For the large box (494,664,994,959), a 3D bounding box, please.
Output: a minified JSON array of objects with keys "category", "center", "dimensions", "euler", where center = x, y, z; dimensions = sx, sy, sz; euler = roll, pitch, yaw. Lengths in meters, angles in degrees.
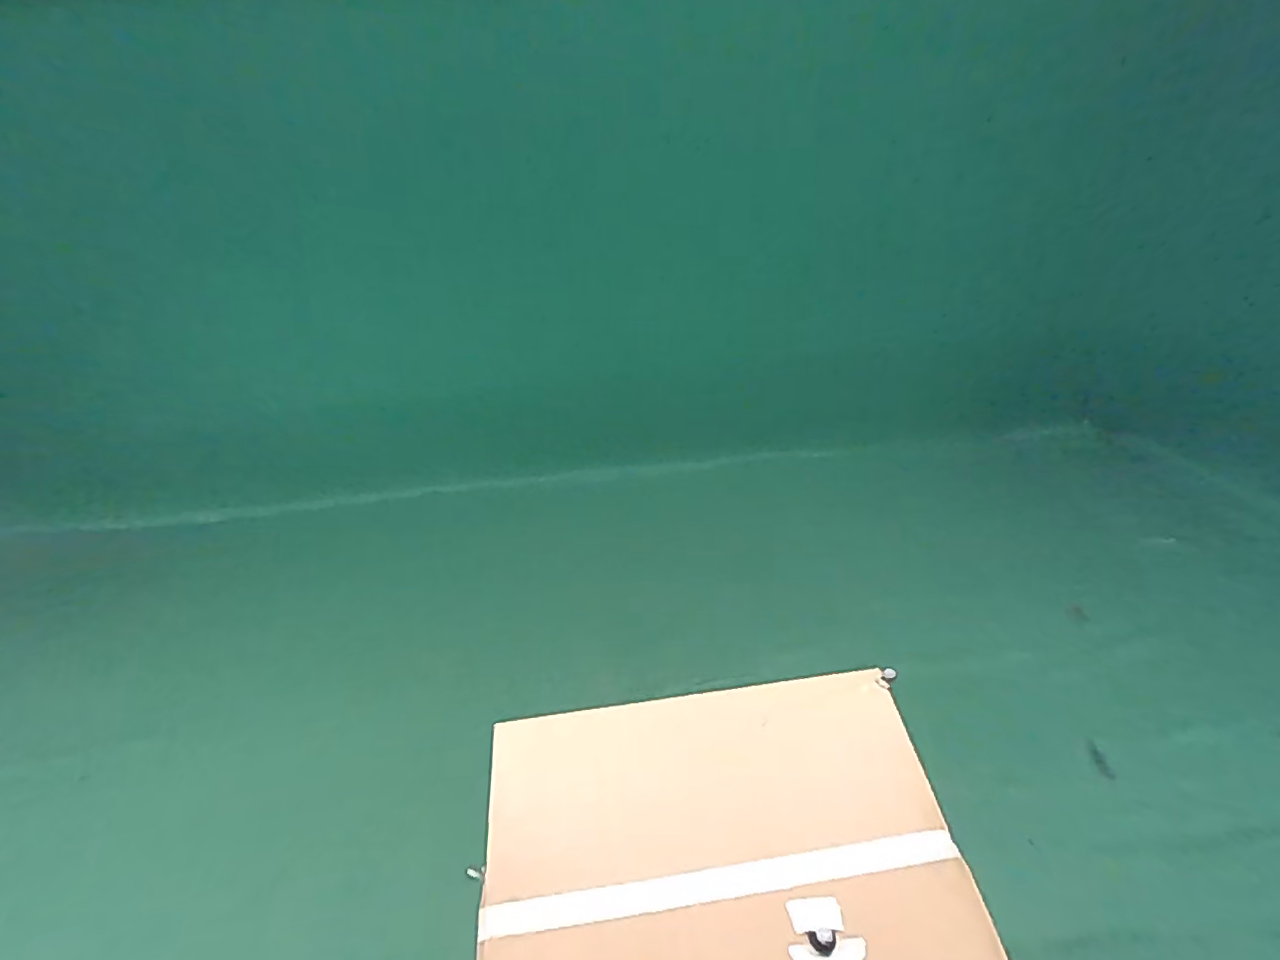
[{"category":"large box","center":[0.075,0.435,0.583],"dimensions":[0.408,0.320,0.320],"euler":[-7,50,-4]}]
